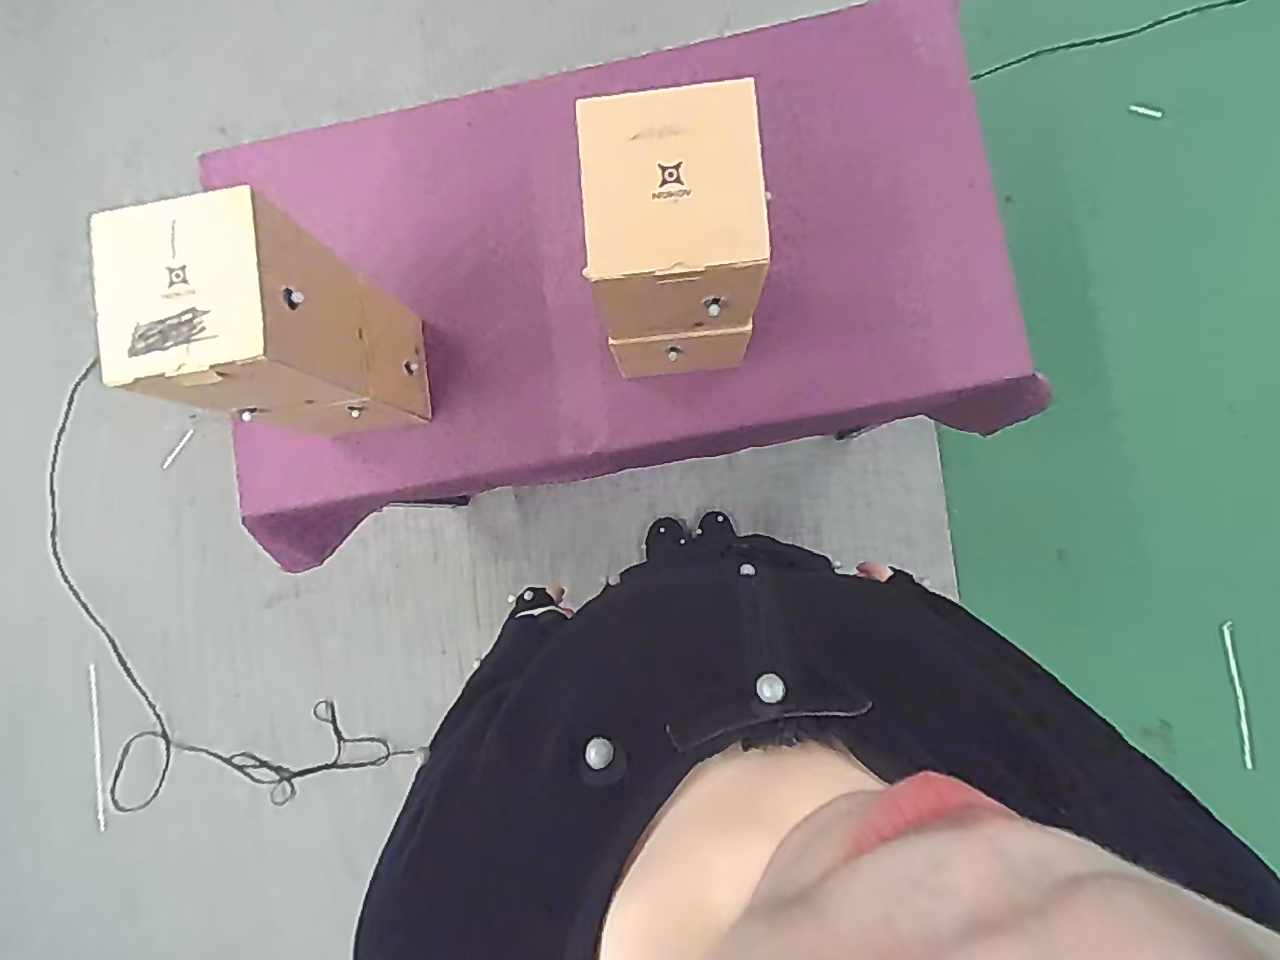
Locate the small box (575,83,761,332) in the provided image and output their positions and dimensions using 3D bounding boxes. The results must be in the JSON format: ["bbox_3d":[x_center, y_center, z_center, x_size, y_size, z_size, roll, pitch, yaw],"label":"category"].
[{"bbox_3d":[0.031,-0.266,0.573,0.168,0.176,0.179,-4,85,4],"label":"small box"}]

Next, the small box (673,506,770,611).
[{"bbox_3d":[0.206,0.204,1.413,0.179,0.176,0.168,-27,54,-30],"label":"small box"}]

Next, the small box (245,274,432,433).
[{"bbox_3d":[-0.423,-0.168,0.772,0.179,0.176,0.168,-8,85,4],"label":"small box"}]

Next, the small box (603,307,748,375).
[{"bbox_3d":[0.047,-0.246,0.735,0.179,0.176,0.168,-4,86,5],"label":"small box"}]

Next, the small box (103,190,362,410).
[{"bbox_3d":[-0.439,-0.183,0.609,0.168,0.176,0.179,-9,84,3],"label":"small box"}]
